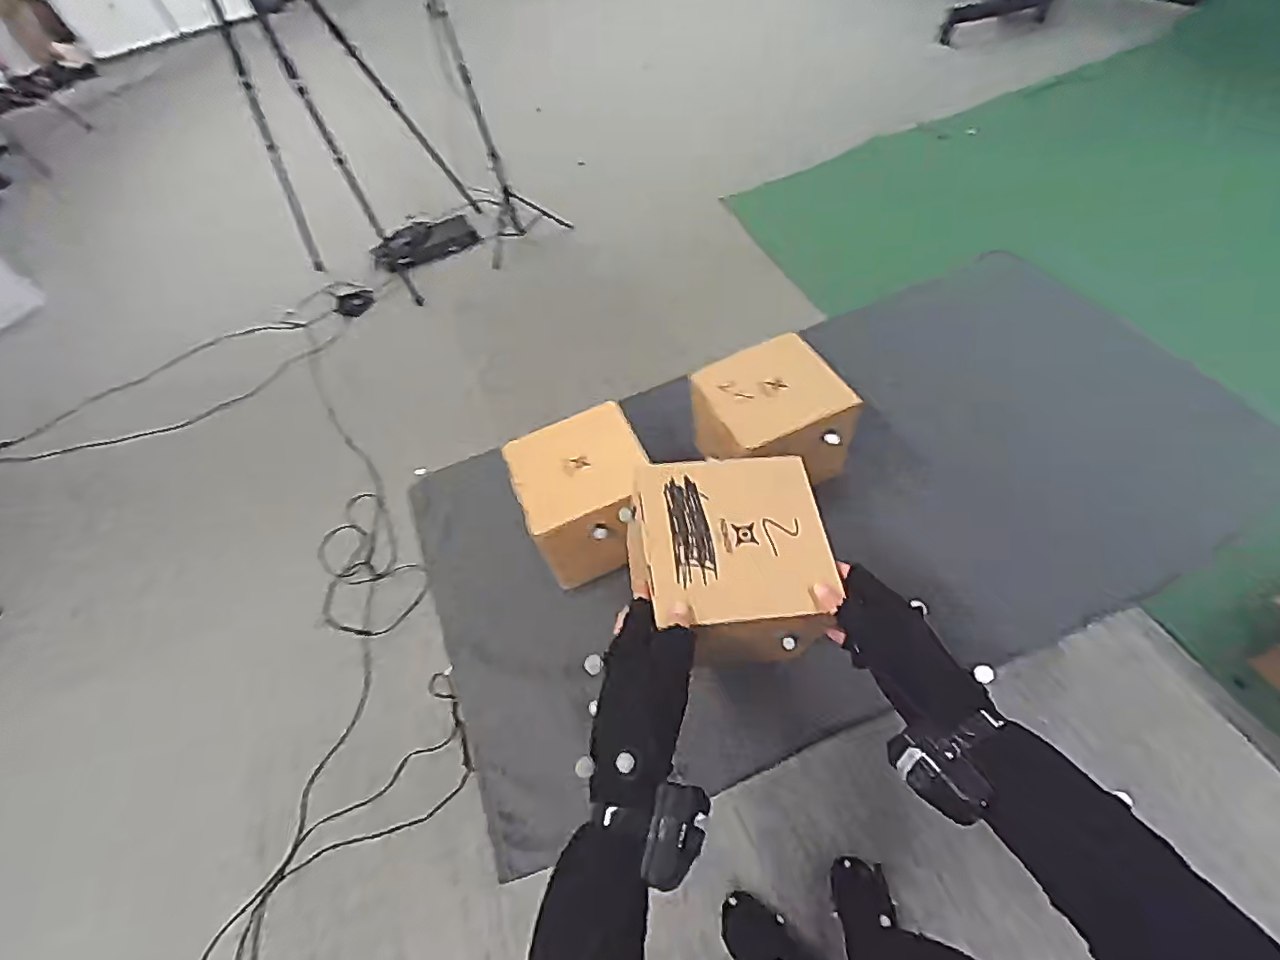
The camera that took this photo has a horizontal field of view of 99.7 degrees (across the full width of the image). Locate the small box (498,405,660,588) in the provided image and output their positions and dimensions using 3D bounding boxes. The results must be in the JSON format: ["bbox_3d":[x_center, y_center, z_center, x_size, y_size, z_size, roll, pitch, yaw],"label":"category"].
[{"bbox_3d":[-0.079,0.029,0.787,0.179,0.176,0.168,-24,55,-6],"label":"small box"}]

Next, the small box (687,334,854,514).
[{"bbox_3d":[0.185,-0.080,0.811,0.179,0.176,0.168,-24,54,-7],"label":"small box"}]
